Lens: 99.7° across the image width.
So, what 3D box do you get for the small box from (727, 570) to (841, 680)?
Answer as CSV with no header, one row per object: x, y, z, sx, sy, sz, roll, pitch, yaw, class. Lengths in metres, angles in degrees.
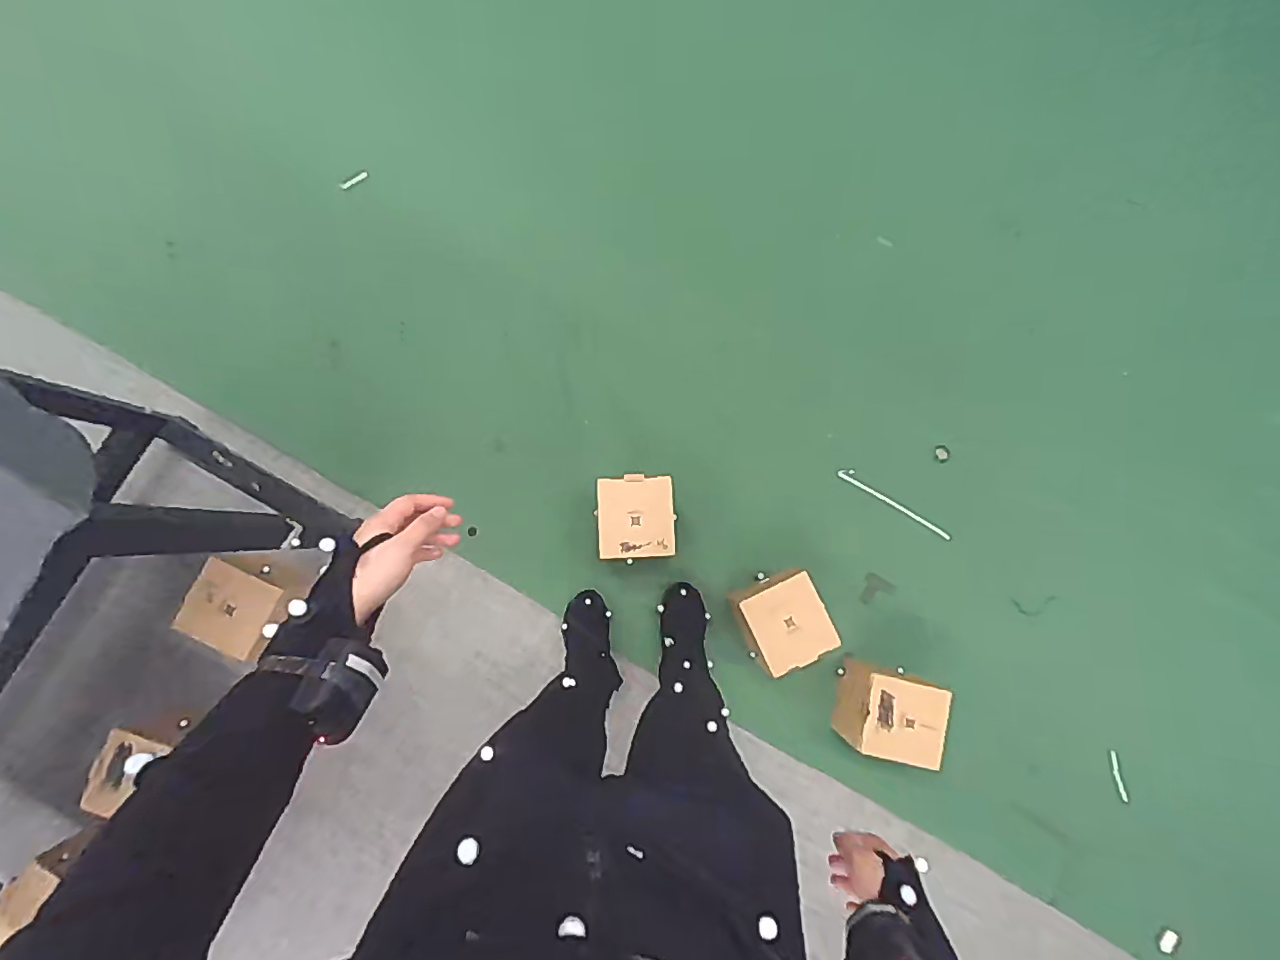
0.317,0.317,1.222,0.168,0.176,0.179,-25,85,-4,small box

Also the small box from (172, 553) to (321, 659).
-0.860,0.269,1.203,0.179,0.176,0.168,25,84,1,small box

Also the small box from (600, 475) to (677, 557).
-0.007,0.087,1.240,0.168,0.176,0.179,-1,84,-2,small box

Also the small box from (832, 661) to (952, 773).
0.551,0.516,1.206,0.179,0.176,0.168,14,84,0,small box
